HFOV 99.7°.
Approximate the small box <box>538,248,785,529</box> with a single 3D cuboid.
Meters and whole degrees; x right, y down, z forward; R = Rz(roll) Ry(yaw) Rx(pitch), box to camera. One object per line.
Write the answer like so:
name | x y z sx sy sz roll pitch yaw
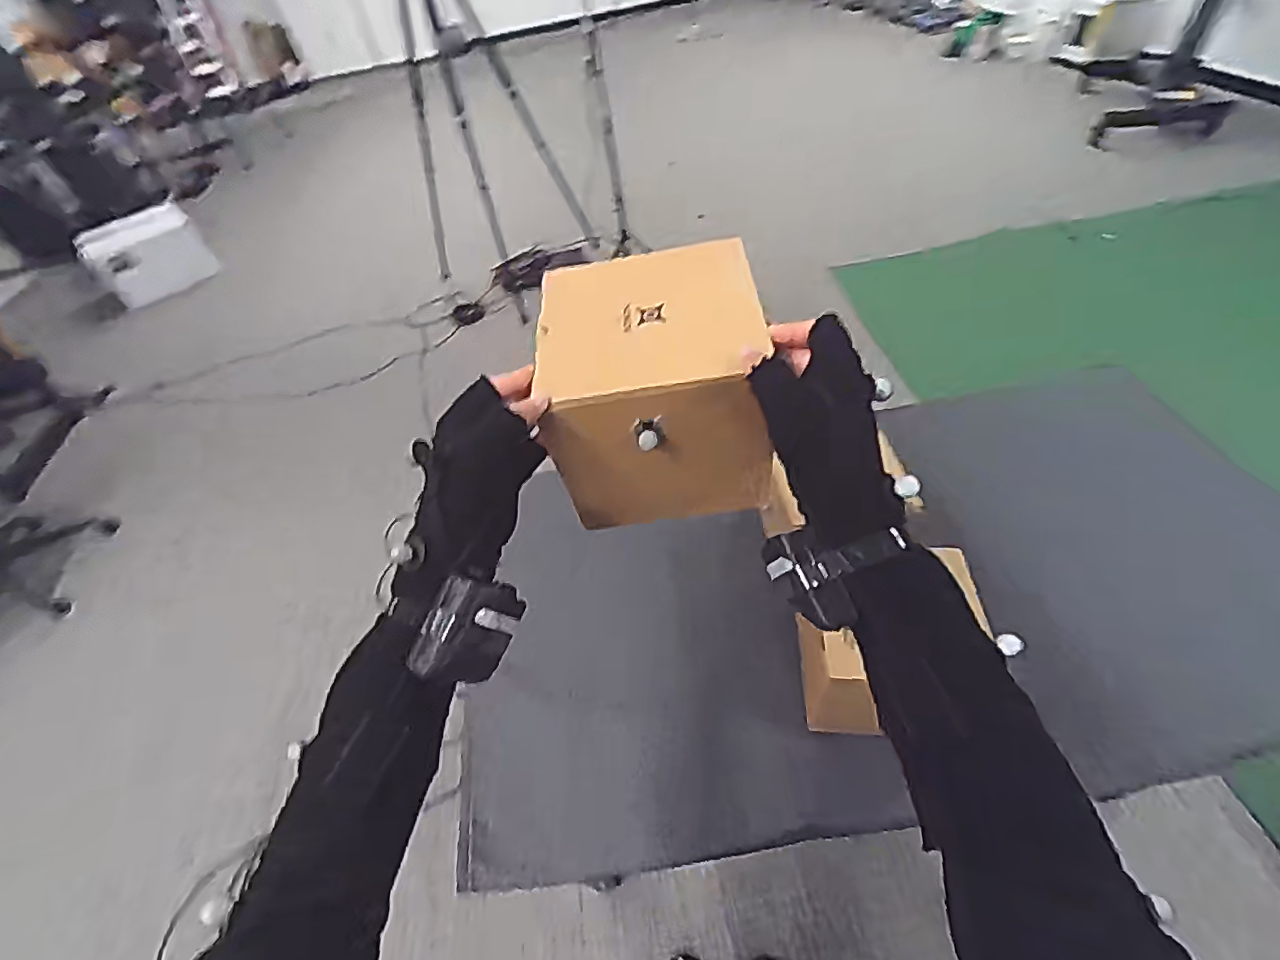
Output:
small box | 0.023 -0.073 0.483 0.179 0.176 0.168 -8 53 7
